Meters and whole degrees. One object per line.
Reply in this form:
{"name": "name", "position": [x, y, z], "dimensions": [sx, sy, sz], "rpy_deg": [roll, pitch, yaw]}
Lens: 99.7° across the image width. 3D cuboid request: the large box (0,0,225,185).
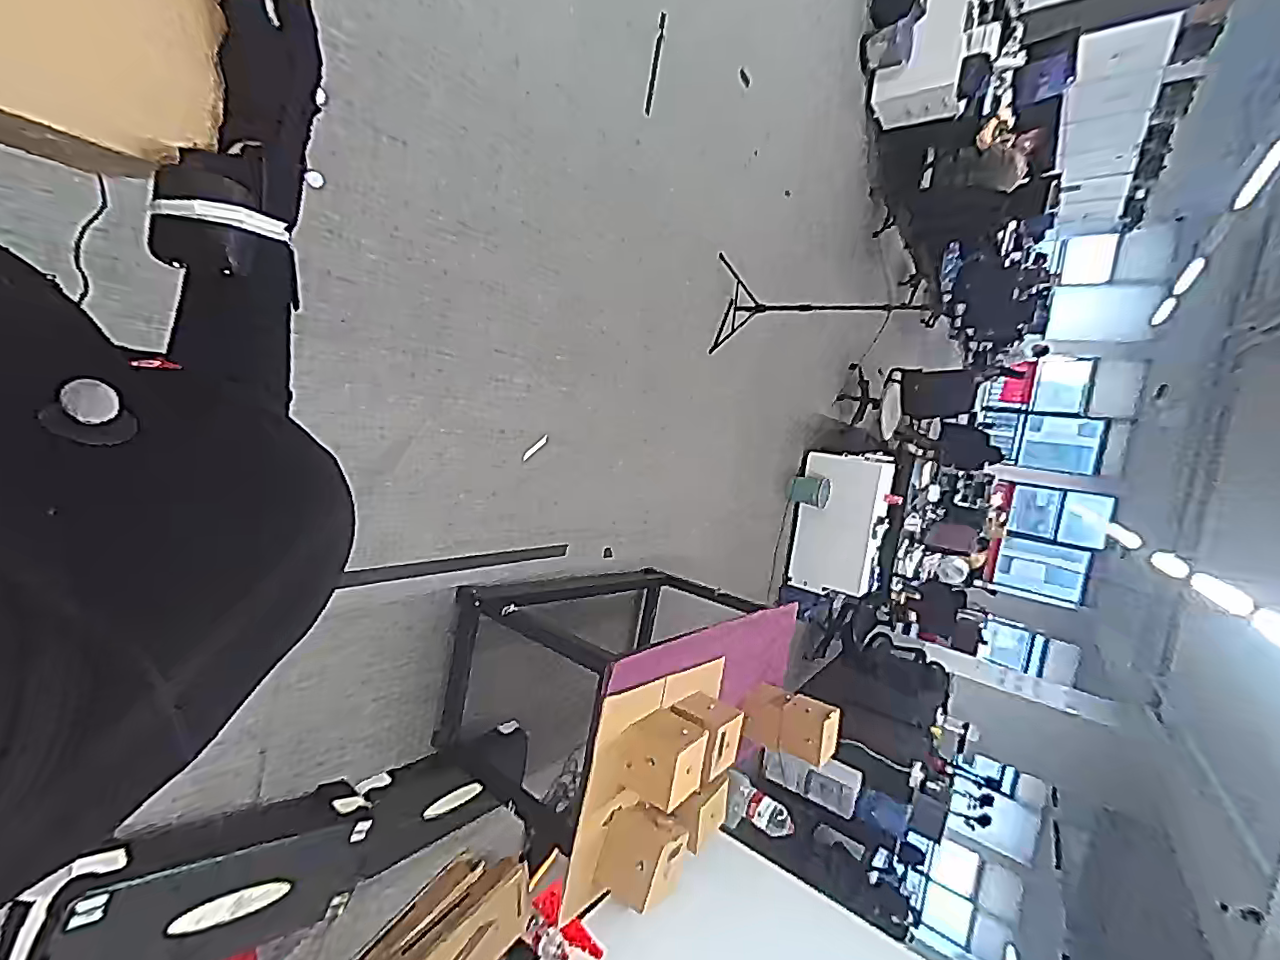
{"name": "large box", "position": [-0.516, -0.405, 0.290], "dimensions": [0.408, 0.320, 0.320], "rpy_deg": [-1, 110, -56]}
